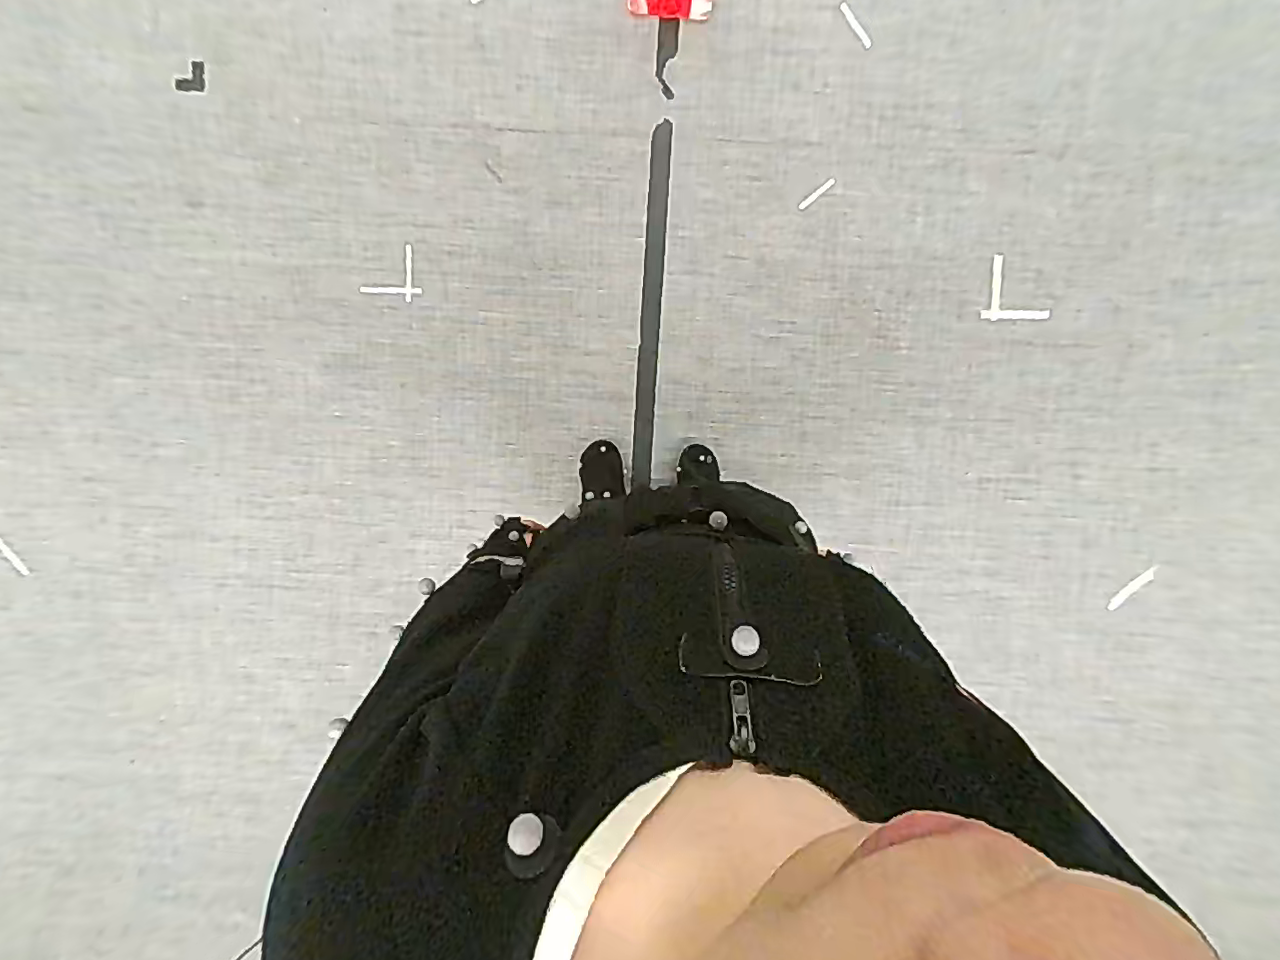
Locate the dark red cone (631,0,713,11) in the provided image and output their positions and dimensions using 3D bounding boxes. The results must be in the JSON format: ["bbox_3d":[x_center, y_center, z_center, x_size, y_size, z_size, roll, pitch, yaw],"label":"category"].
[{"bbox_3d":[0.074,-1.171,1.074,0.201,0.394,0.202,2,96,0],"label":"dark red cone"}]
